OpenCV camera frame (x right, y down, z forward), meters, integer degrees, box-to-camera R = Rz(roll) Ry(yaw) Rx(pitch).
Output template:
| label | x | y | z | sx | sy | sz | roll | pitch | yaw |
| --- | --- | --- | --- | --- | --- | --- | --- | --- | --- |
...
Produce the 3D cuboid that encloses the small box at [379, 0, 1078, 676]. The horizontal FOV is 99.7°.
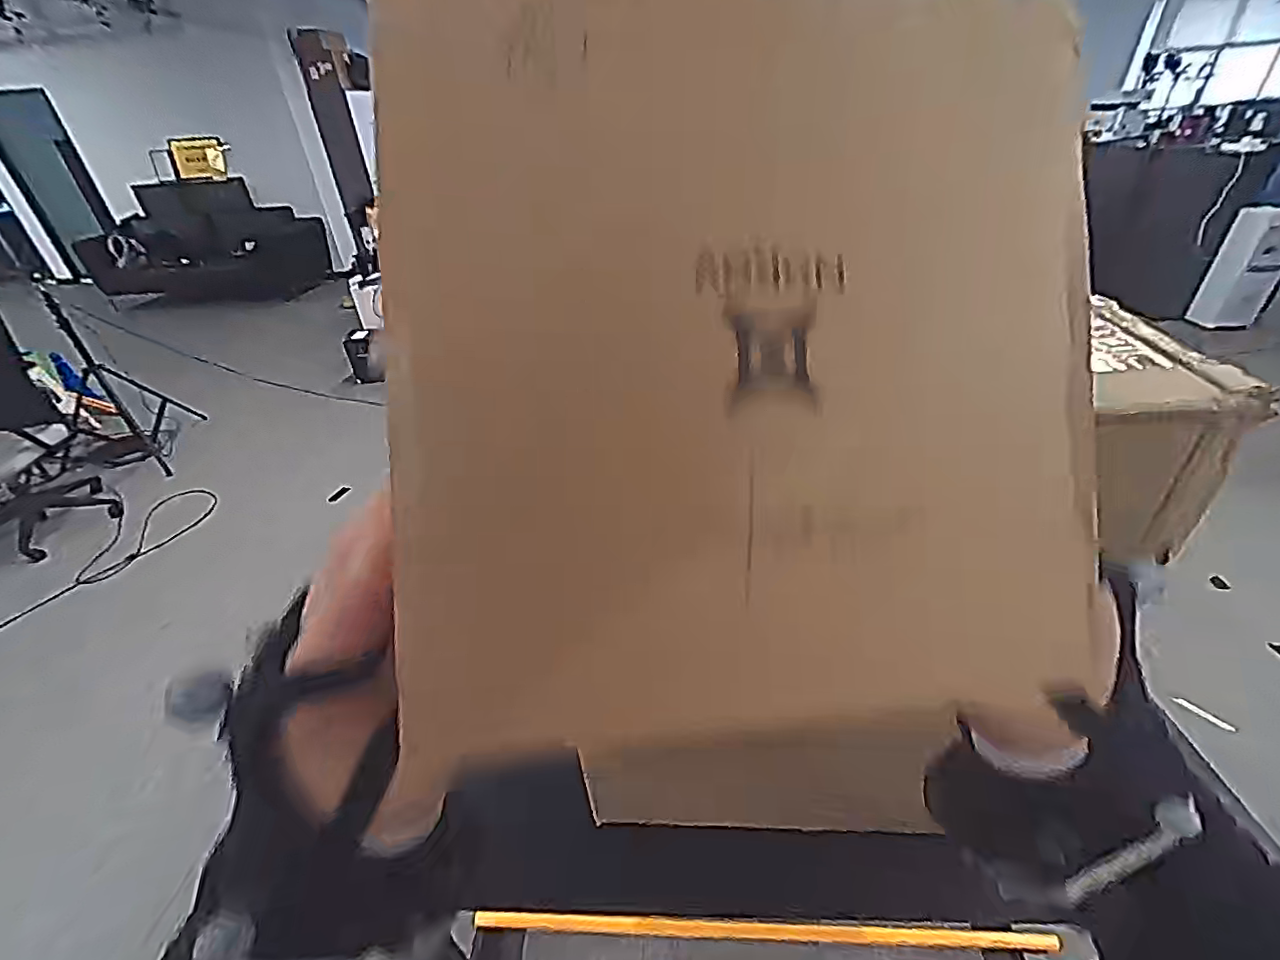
| label | x | y | z | sx | sy | sz | roll | pitch | yaw |
| --- | --- | --- | --- | --- | --- | --- | --- | --- | --- |
| small box | 0.014 | -0.046 | 0.206 | 0.168 | 0.179 | 0.176 | -3 | 0 | -8 |
